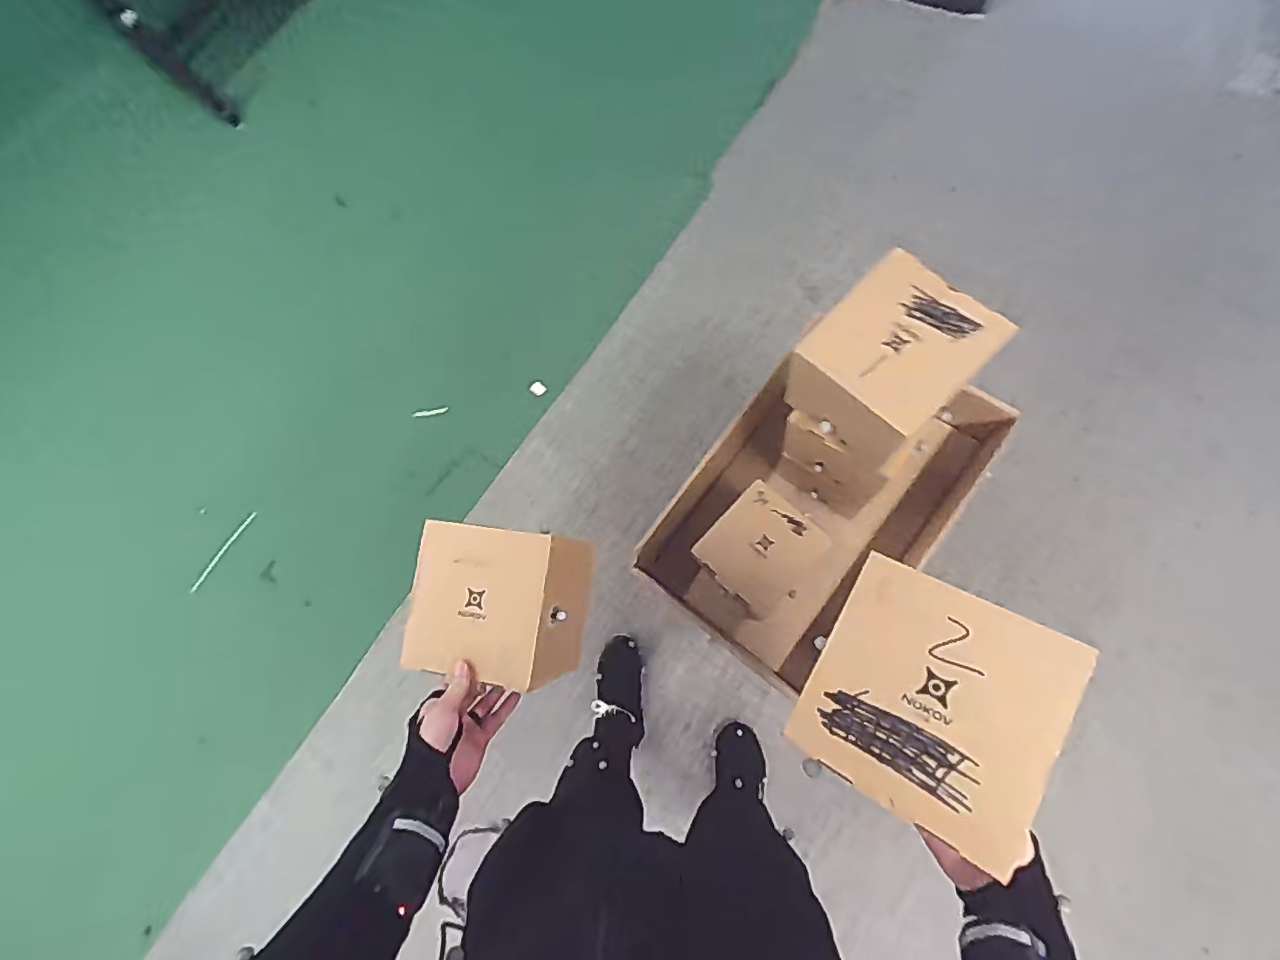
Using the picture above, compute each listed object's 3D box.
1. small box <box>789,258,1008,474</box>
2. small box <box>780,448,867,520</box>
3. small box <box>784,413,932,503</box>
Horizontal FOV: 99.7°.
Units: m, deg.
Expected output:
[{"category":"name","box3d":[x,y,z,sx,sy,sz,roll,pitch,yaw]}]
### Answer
[{"category":"small box","box3d":[0.310,-0.135,0.696,0.179,0.176,0.168,-44,72,-1]},{"category":"small box","box3d":[0.374,-0.049,1.004,0.168,0.176,0.179,36,85,18]},{"category":"small box","box3d":[0.341,-0.088,0.851,0.168,0.176,0.179,35,85,17]}]
